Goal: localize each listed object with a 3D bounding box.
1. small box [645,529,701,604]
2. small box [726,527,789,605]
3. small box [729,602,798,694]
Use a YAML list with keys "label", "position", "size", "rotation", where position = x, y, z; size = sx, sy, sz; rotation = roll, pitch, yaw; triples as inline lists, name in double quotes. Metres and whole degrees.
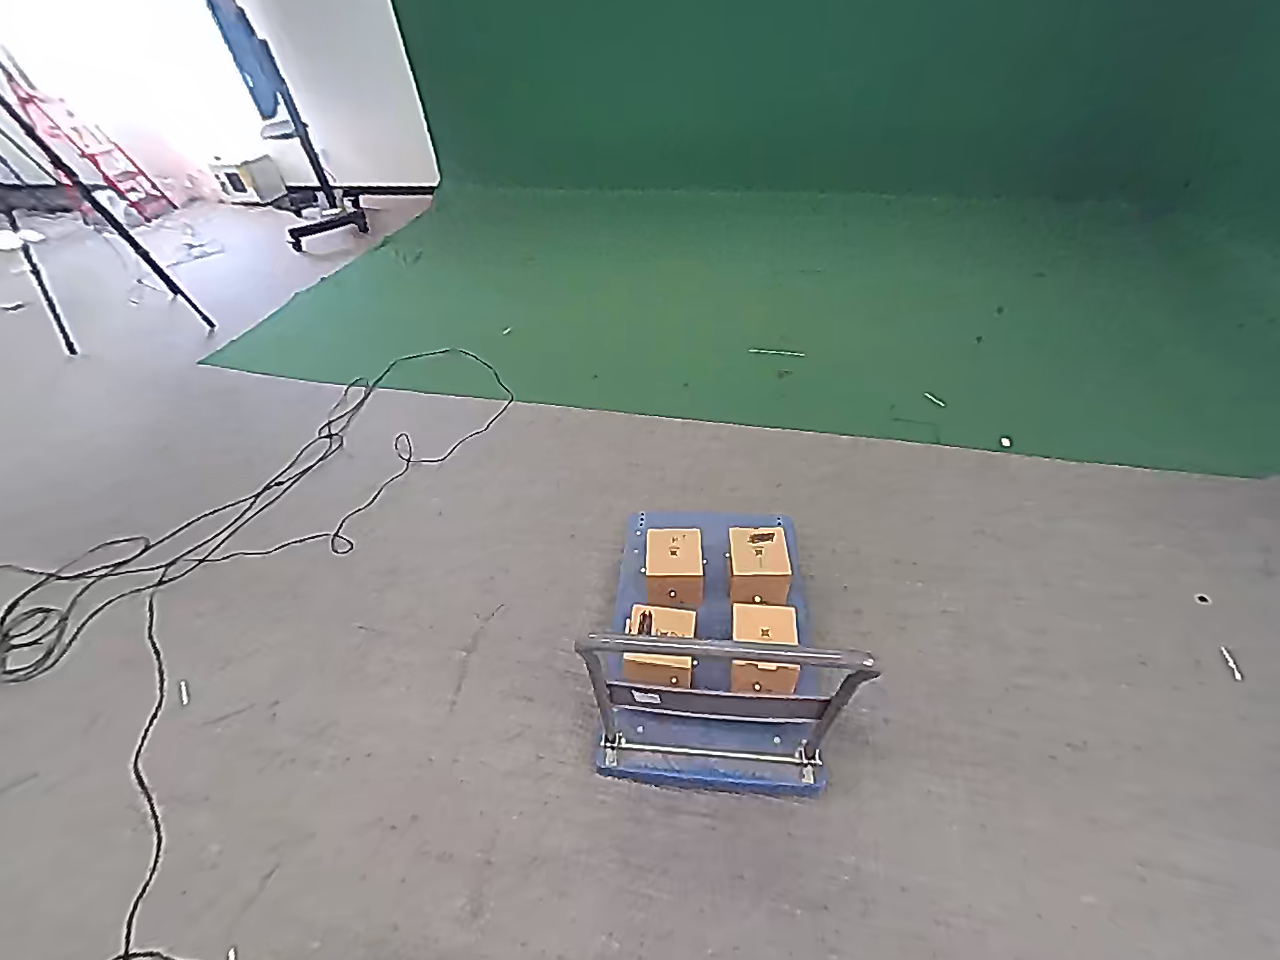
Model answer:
- label: "small box"
  position: [0.105, 0.272, 1.681]
  size: [0.168, 0.176, 0.179]
  rotation: [-1, 45, 3]
- label: "small box"
  position: [0.356, 0.265, 1.665]
  size: [0.168, 0.176, 0.179]
  rotation: [-2, 46, 5]
- label: "small box"
  position: [0.331, 0.458, 1.478]
  size: [0.168, 0.176, 0.179]
  rotation: [2, 46, 7]
